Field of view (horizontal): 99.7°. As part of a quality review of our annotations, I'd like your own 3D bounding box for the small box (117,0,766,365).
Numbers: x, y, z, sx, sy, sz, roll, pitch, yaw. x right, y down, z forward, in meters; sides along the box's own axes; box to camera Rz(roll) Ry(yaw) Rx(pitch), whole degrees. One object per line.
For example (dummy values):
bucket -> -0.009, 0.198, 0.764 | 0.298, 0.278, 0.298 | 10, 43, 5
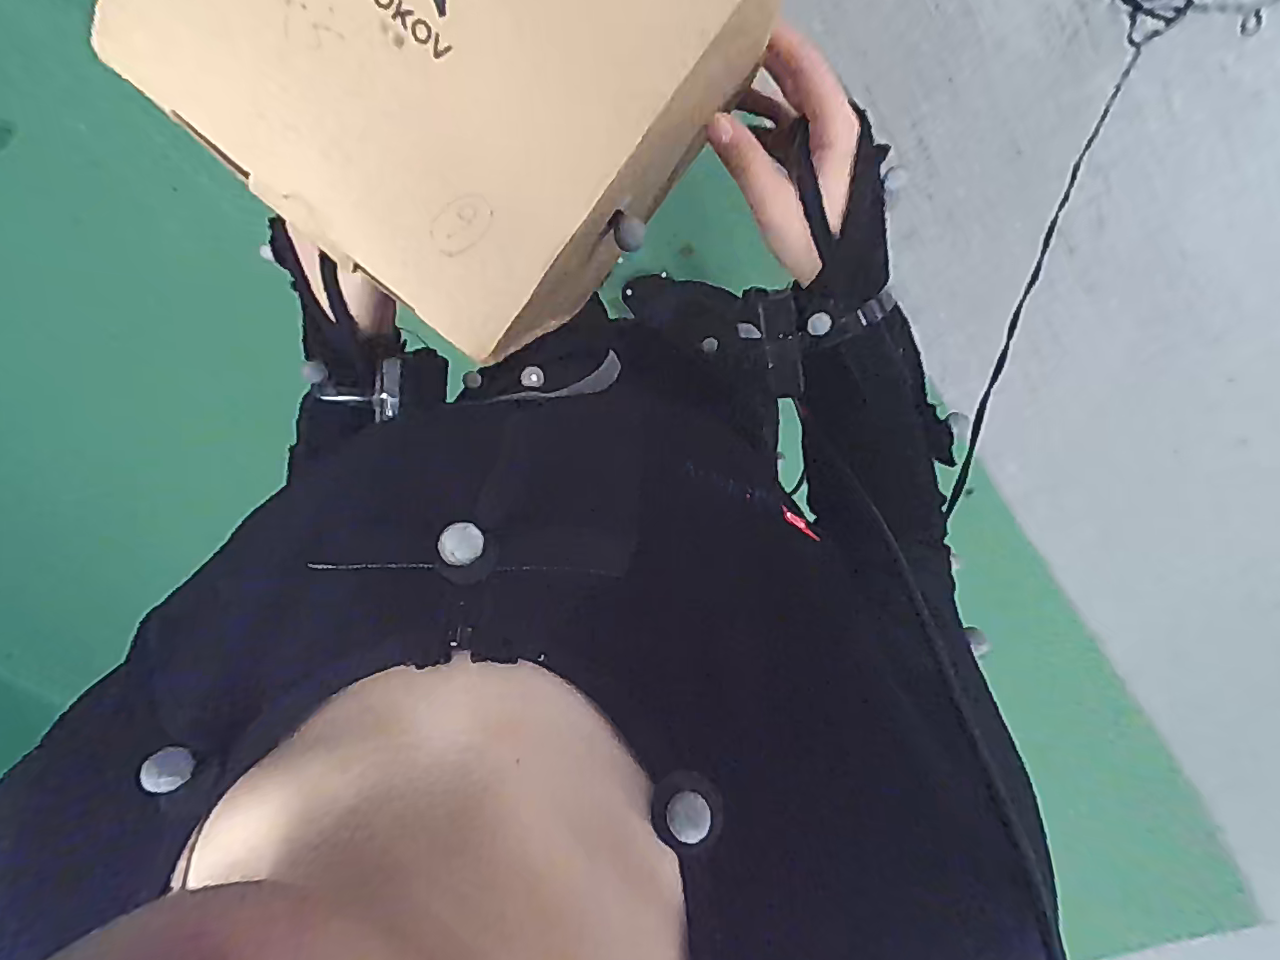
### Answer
small box -> -0.058, -0.183, 0.243 | 0.168, 0.176, 0.179 | 40, 113, -10
